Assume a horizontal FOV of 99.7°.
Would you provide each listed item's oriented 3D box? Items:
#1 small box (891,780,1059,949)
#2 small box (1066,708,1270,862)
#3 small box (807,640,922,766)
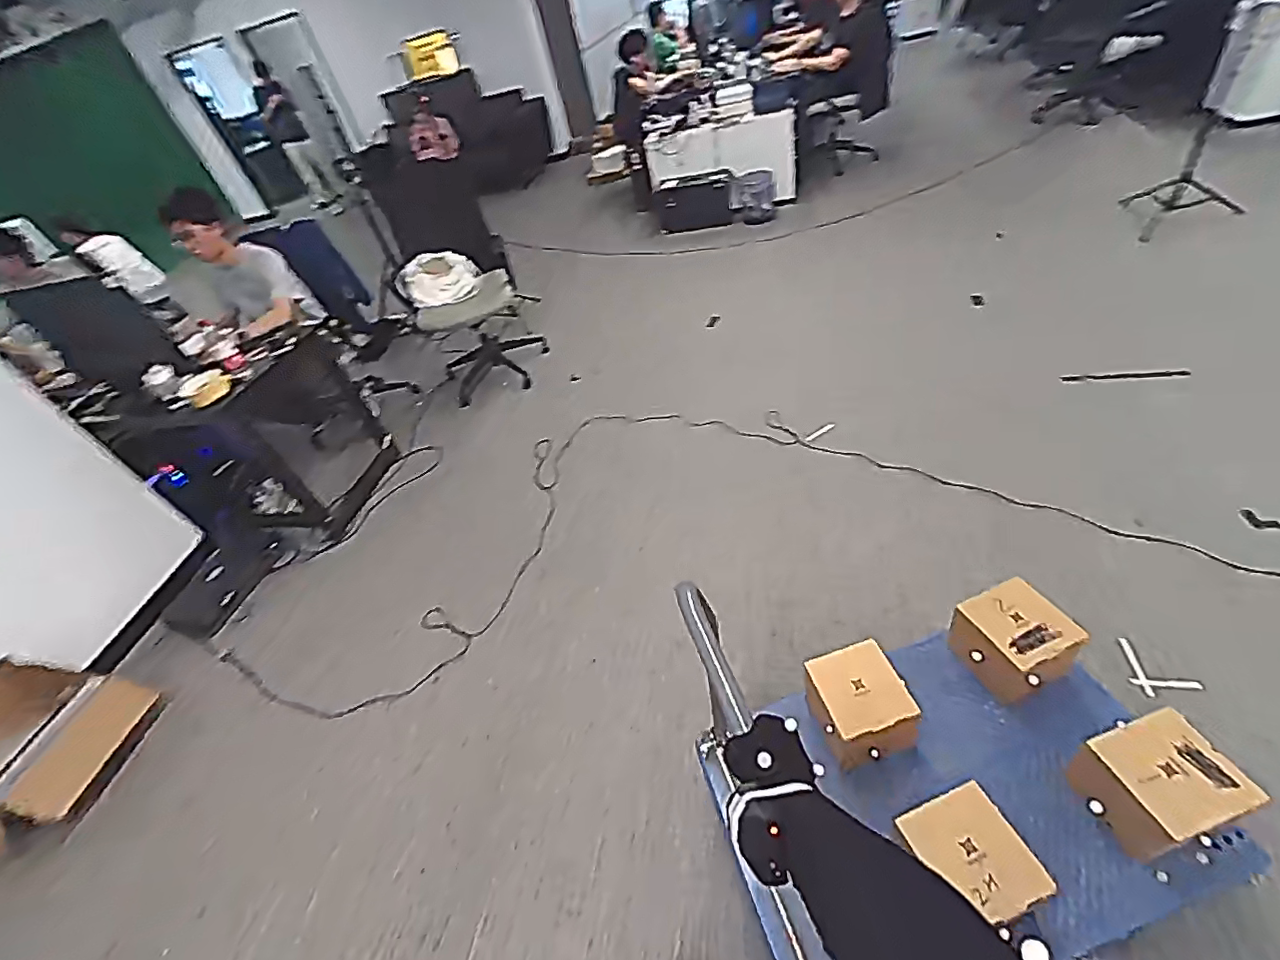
[{"bbox_3d":[0.566,0.672,0.945,0.168,0.176,0.179,-22,42,-6],"label":"small box"},{"bbox_3d":[0.918,0.545,0.965,0.179,0.176,0.168,-21,42,-3],"label":"small box"},{"bbox_3d":[0.473,0.485,1.174,0.168,0.176,0.179,-19,44,-3],"label":"small box"}]
